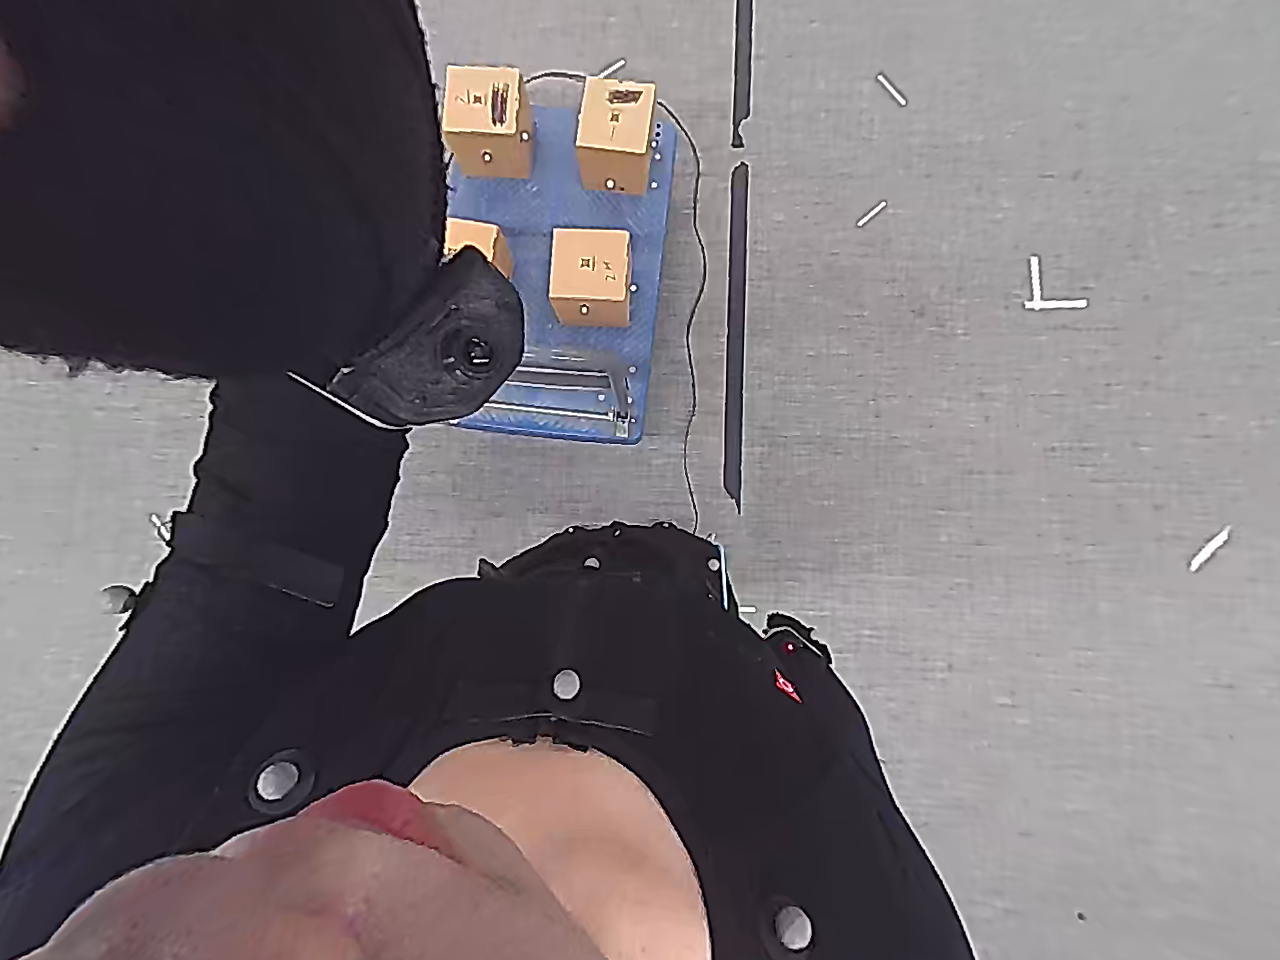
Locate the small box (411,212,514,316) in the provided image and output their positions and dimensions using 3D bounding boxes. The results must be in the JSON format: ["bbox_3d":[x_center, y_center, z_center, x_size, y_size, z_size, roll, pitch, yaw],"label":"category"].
[{"bbox_3d":[-0.420,-0.512,1.304,0.179,0.176,0.168,9,85,0],"label":"small box"}]

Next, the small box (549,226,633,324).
[{"bbox_3d":[-0.112,-0.484,1.297,0.179,0.176,0.168,3,85,1],"label":"small box"}]

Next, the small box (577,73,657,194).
[{"bbox_3d":[-0.054,-0.844,1.327,0.168,0.176,0.179,8,86,1],"label":"small box"}]
